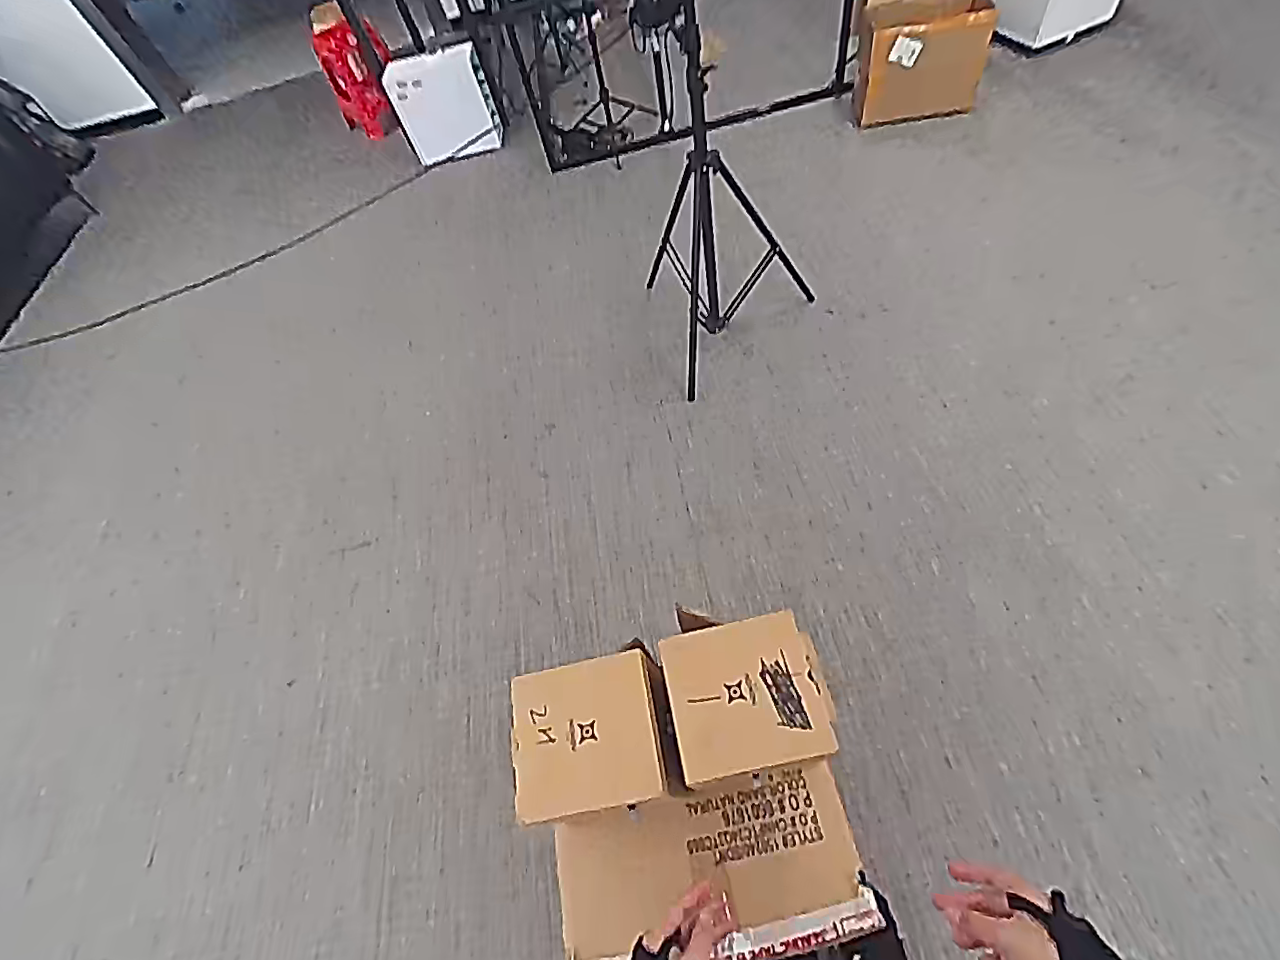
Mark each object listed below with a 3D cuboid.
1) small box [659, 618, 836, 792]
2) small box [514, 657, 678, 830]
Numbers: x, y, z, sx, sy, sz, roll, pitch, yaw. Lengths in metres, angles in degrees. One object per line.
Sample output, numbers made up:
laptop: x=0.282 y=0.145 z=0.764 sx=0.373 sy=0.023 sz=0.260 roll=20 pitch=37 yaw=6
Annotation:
small box: x=0.132 y=0.300 z=0.709 sx=0.179 sy=0.176 sz=0.168 roll=-14 pitch=57 yaw=2
small box: x=-0.051 y=0.350 z=0.716 sx=0.179 sy=0.176 sz=0.168 roll=-15 pitch=56 yaw=6
